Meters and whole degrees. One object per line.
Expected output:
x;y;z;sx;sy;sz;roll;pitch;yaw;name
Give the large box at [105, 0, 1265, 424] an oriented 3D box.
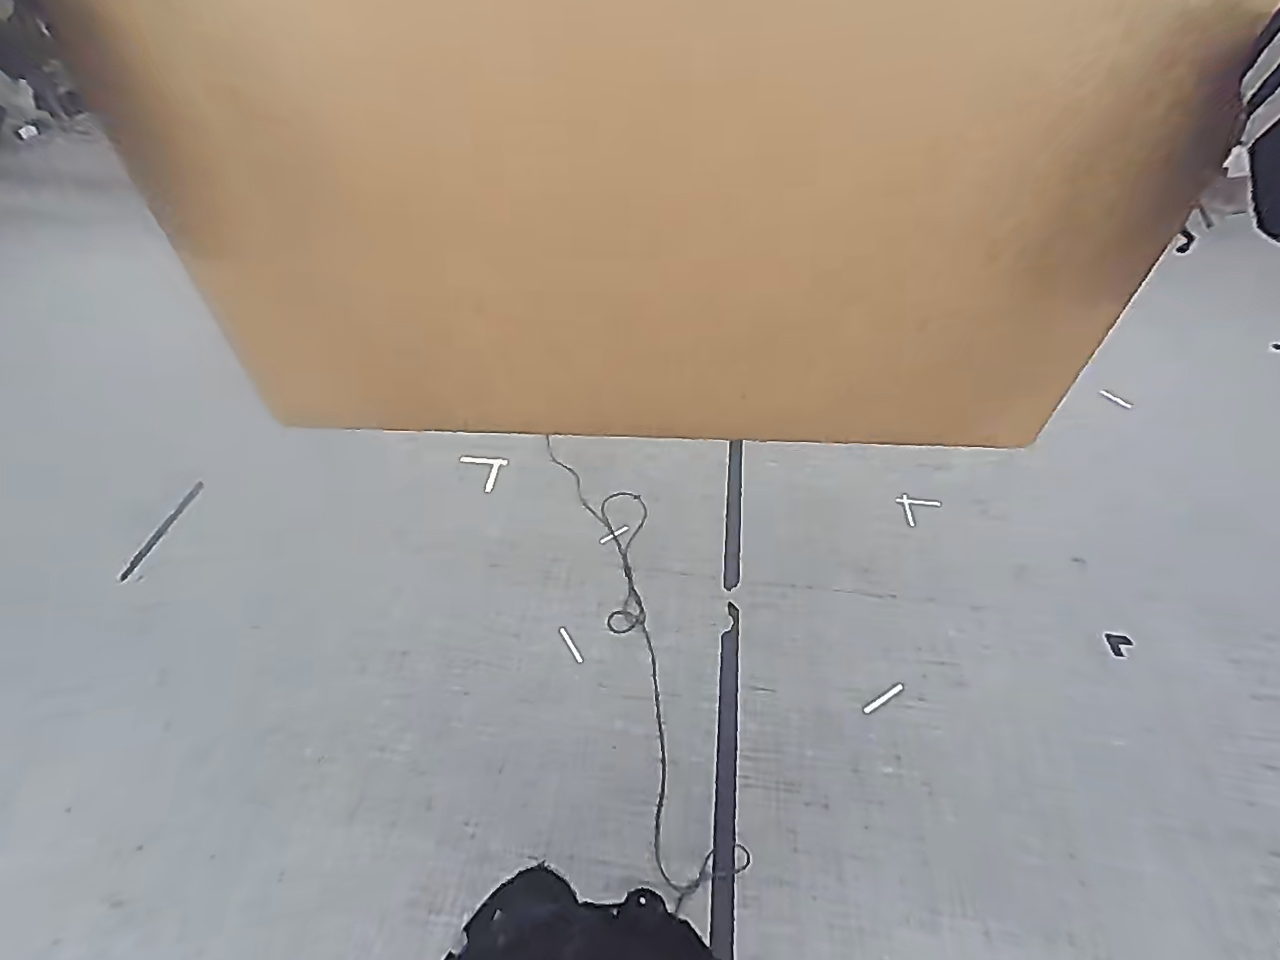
0.014;-0.244;0.307;0.408;0.320;0.320;2;44;-1;large box
